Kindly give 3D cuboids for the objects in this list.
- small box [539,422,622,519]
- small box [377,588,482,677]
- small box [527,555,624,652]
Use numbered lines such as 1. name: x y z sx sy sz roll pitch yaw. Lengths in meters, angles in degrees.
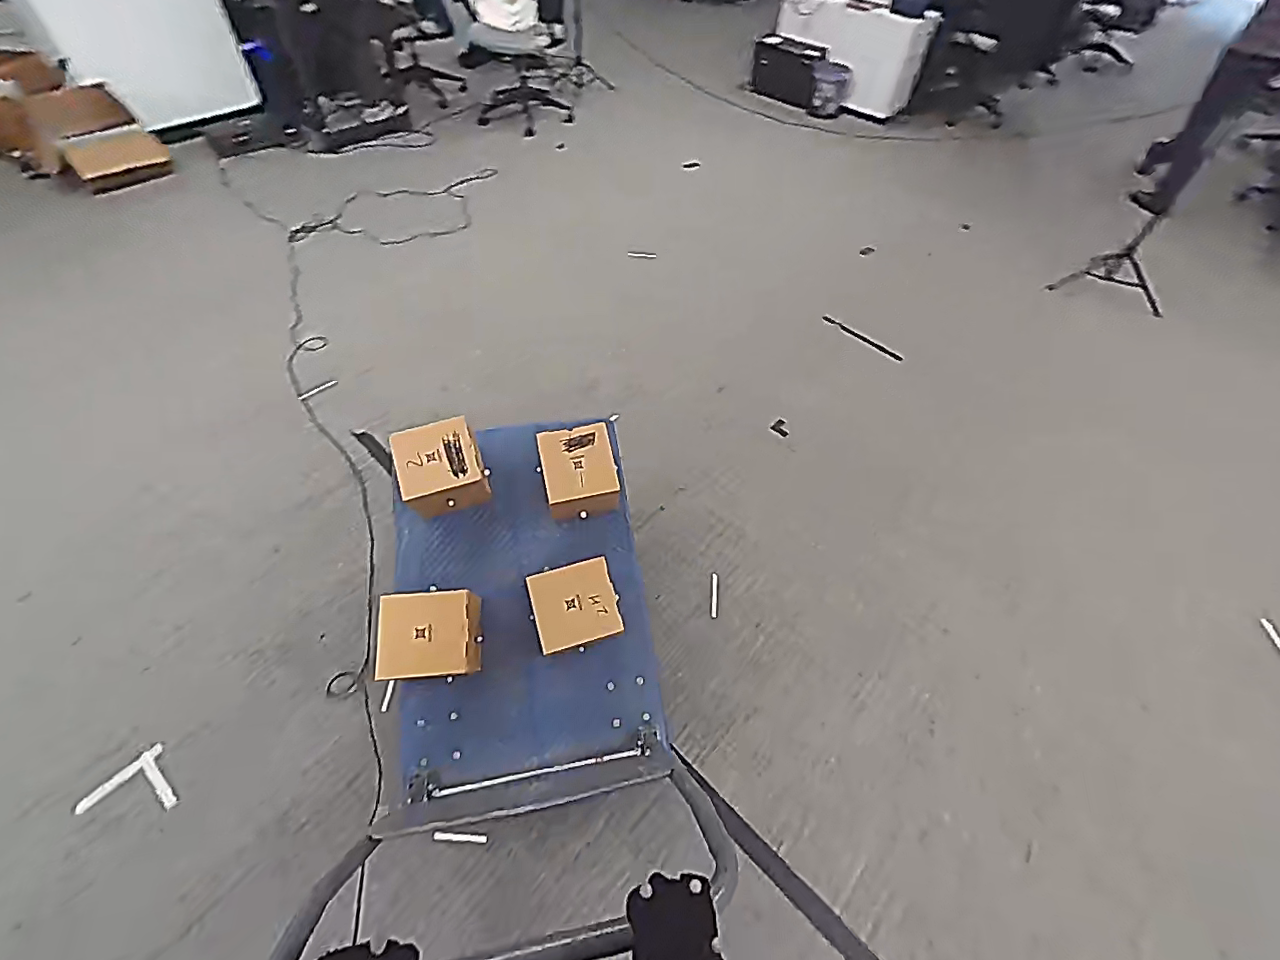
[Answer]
1. small box: -0.148 -0.020 1.317 0.168 0.176 0.179 -11 74 -10
2. small box: -0.444 0.332 1.166 0.179 0.176 0.168 -3 72 -9
3. small box: -0.143 0.283 1.215 0.179 0.176 0.168 -14 74 -10
